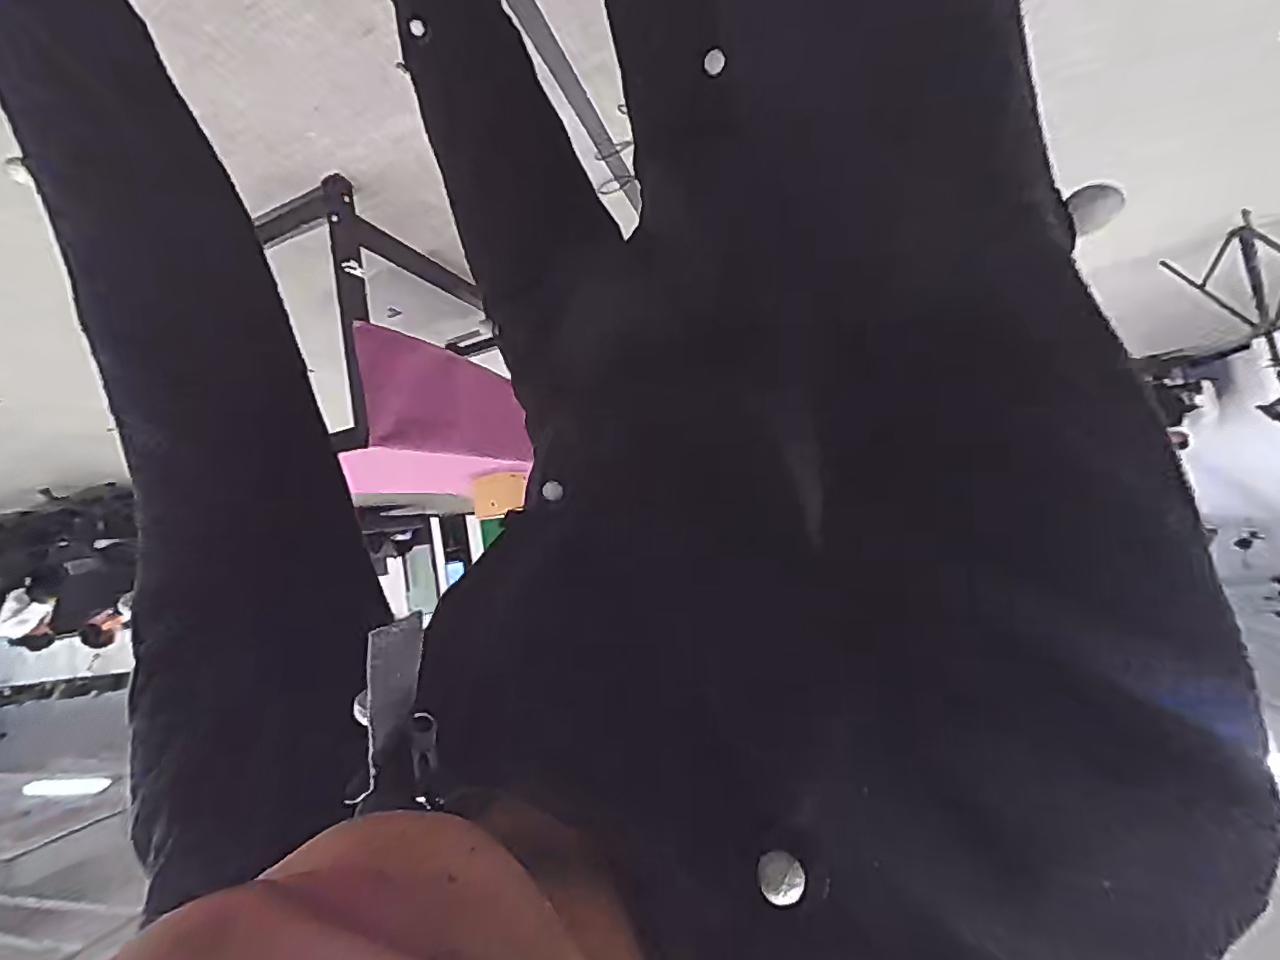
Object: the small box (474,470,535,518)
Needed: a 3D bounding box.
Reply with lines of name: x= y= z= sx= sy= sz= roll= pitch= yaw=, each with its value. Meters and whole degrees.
small box: x=-0.558 y=0.054 z=2.212 sx=0.179 sy=0.176 sz=0.168 roll=-12 pitch=175 yaw=27
